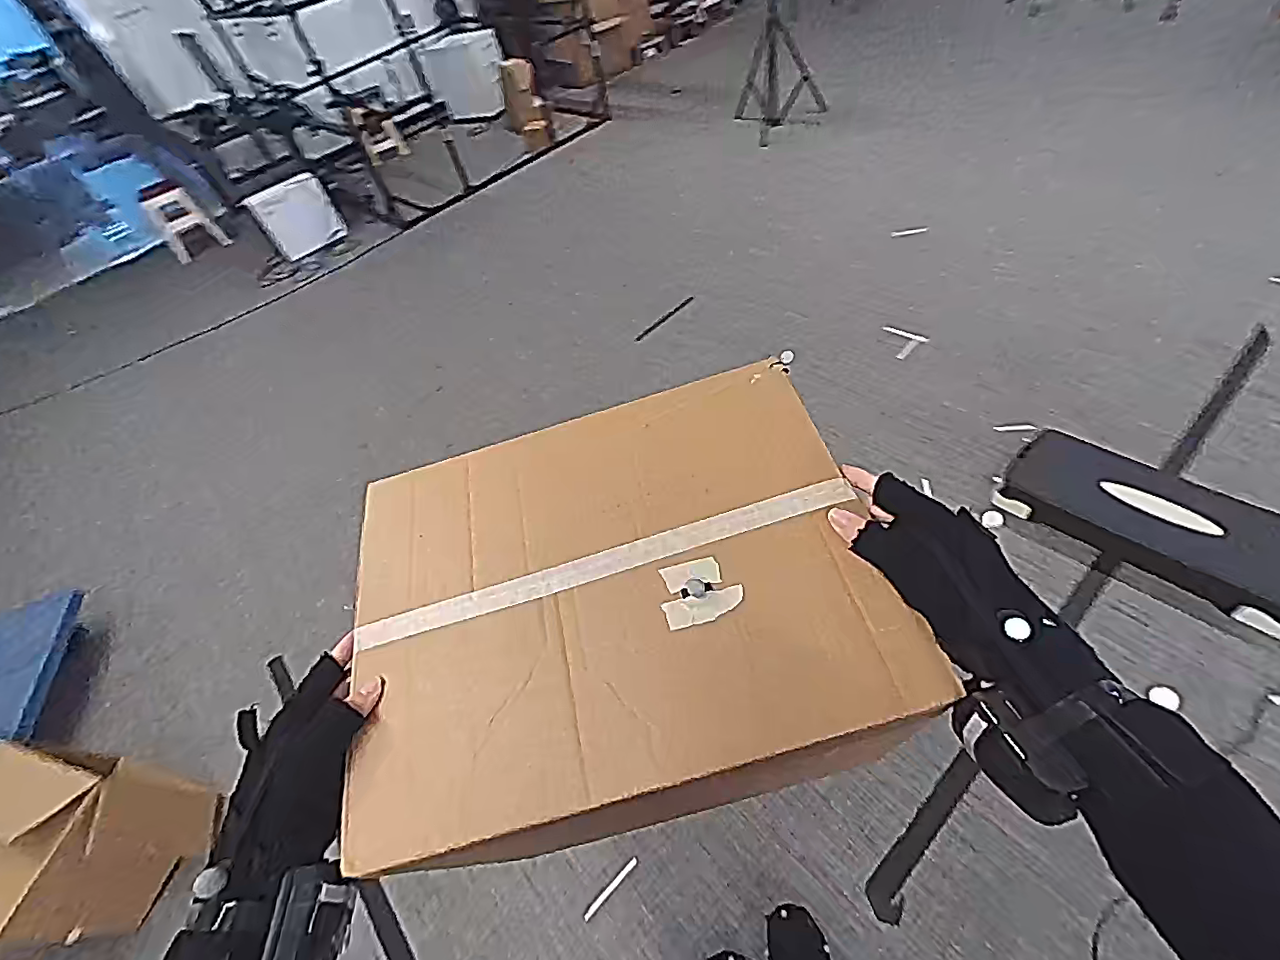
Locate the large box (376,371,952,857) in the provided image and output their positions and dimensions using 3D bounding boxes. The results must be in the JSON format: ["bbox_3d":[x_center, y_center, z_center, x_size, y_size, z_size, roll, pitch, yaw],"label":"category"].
[{"bbox_3d":[0.007,0.152,0.557,0.408,0.320,0.320,-16,56,1],"label":"large box"}]
